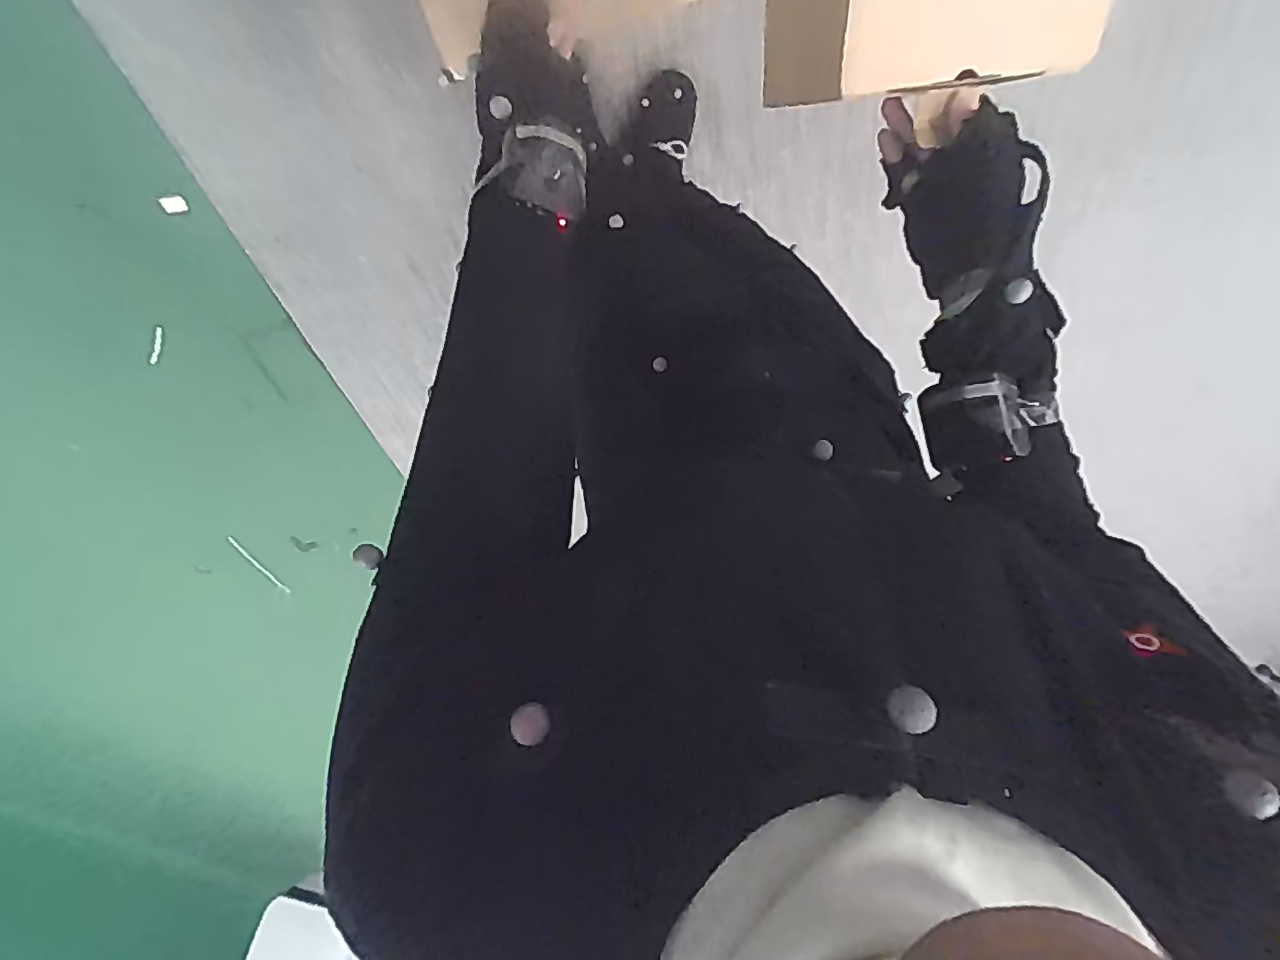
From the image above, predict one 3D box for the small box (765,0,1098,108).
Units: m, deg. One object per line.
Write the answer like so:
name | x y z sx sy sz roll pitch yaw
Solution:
small box | 0.191 -0.370 0.374 0.168 0.176 0.179 -8 123 -2
